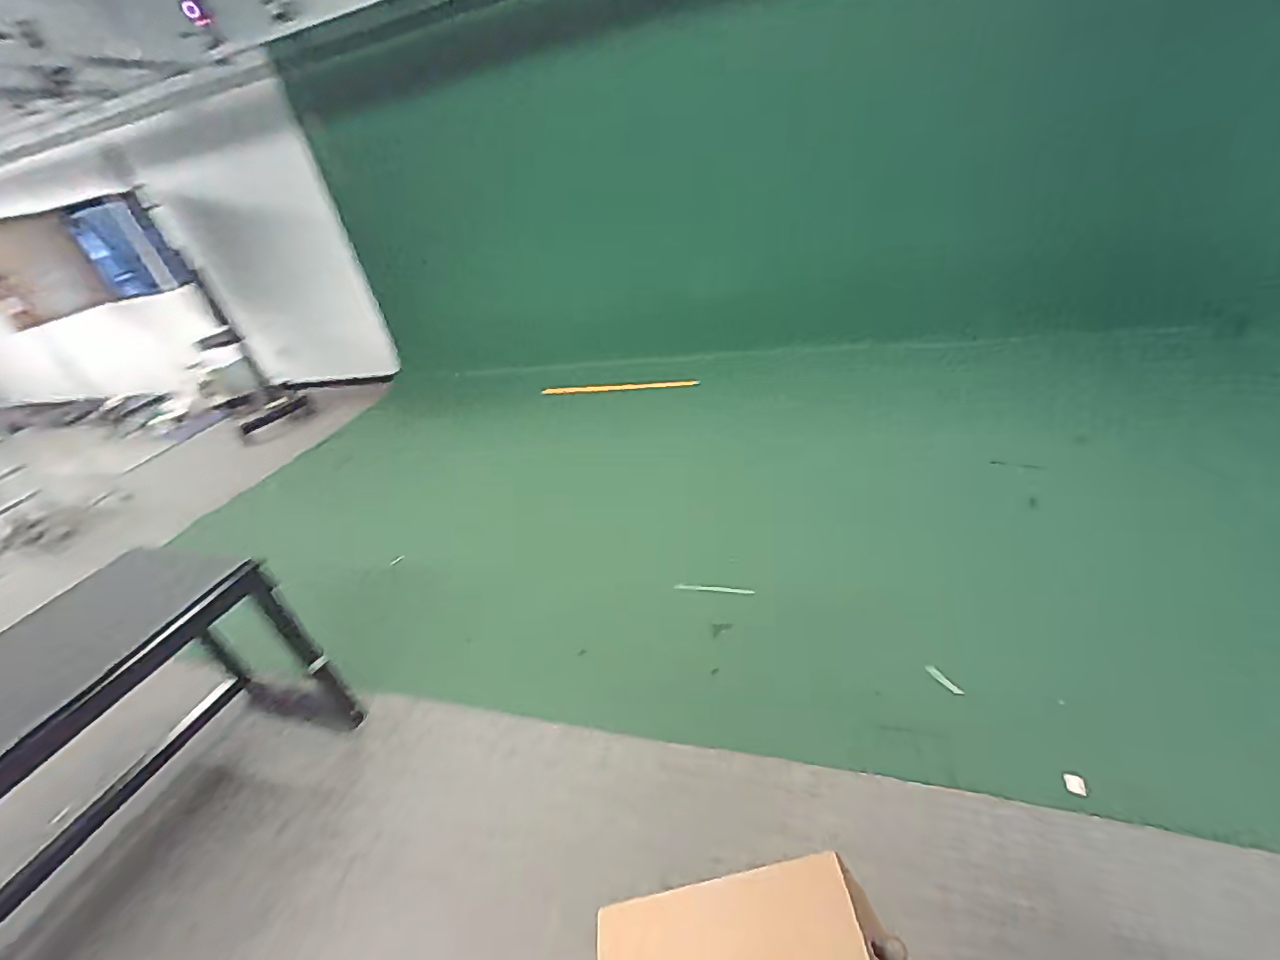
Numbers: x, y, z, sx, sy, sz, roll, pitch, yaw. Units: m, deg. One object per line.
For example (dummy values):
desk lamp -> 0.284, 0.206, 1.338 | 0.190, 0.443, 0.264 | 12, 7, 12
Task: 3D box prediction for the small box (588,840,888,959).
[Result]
small box -> 0.079, 0.355, 0.321 | 0.168, 0.176, 0.179 | -23, 37, 10
